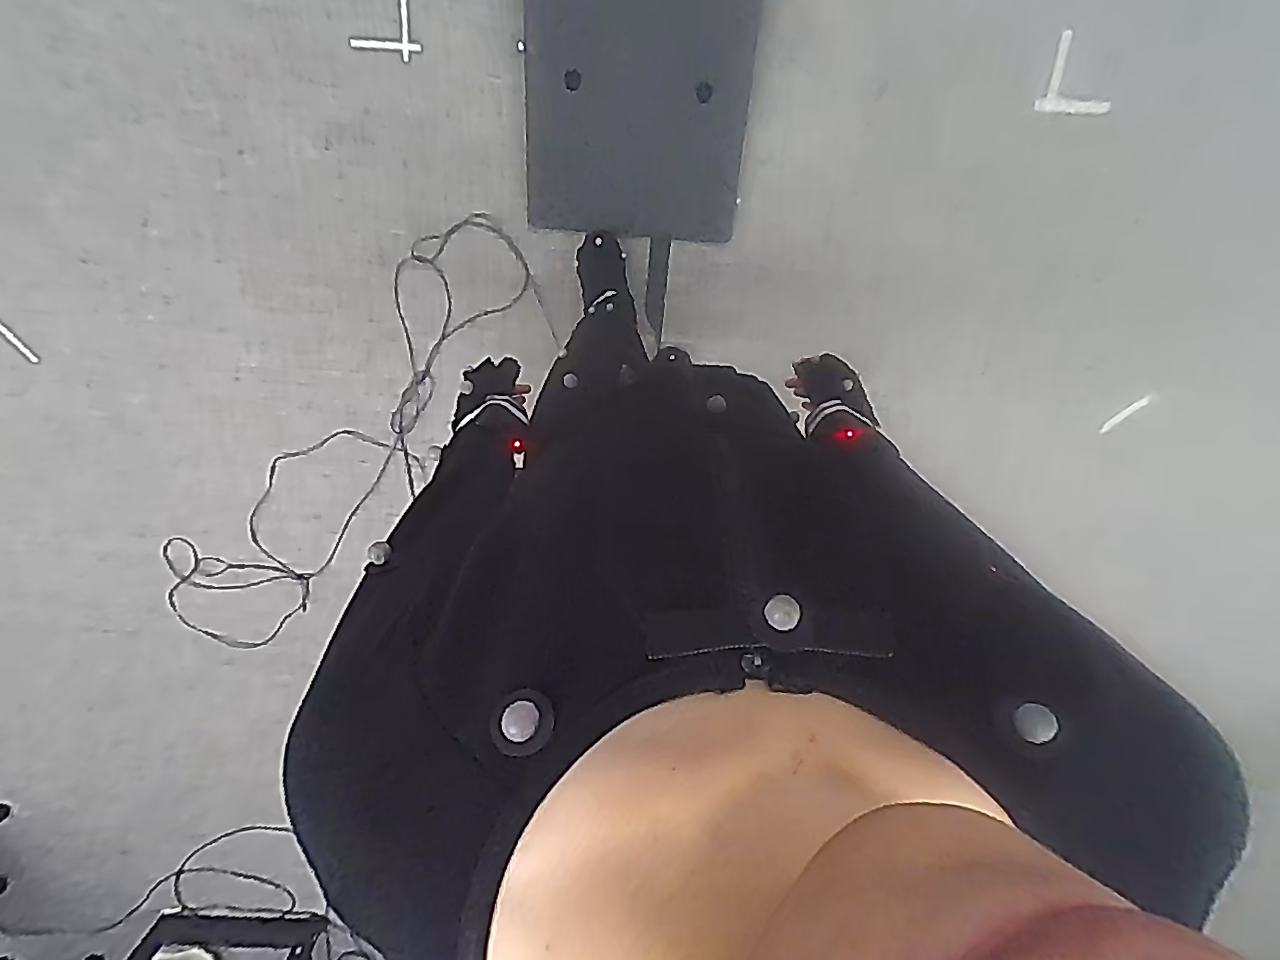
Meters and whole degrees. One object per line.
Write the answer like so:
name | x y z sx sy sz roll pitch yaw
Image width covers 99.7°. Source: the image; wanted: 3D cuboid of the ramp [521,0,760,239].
ramp | 0.008 -1.039 1.077 0.509 0.206 0.991 2 108 -3
